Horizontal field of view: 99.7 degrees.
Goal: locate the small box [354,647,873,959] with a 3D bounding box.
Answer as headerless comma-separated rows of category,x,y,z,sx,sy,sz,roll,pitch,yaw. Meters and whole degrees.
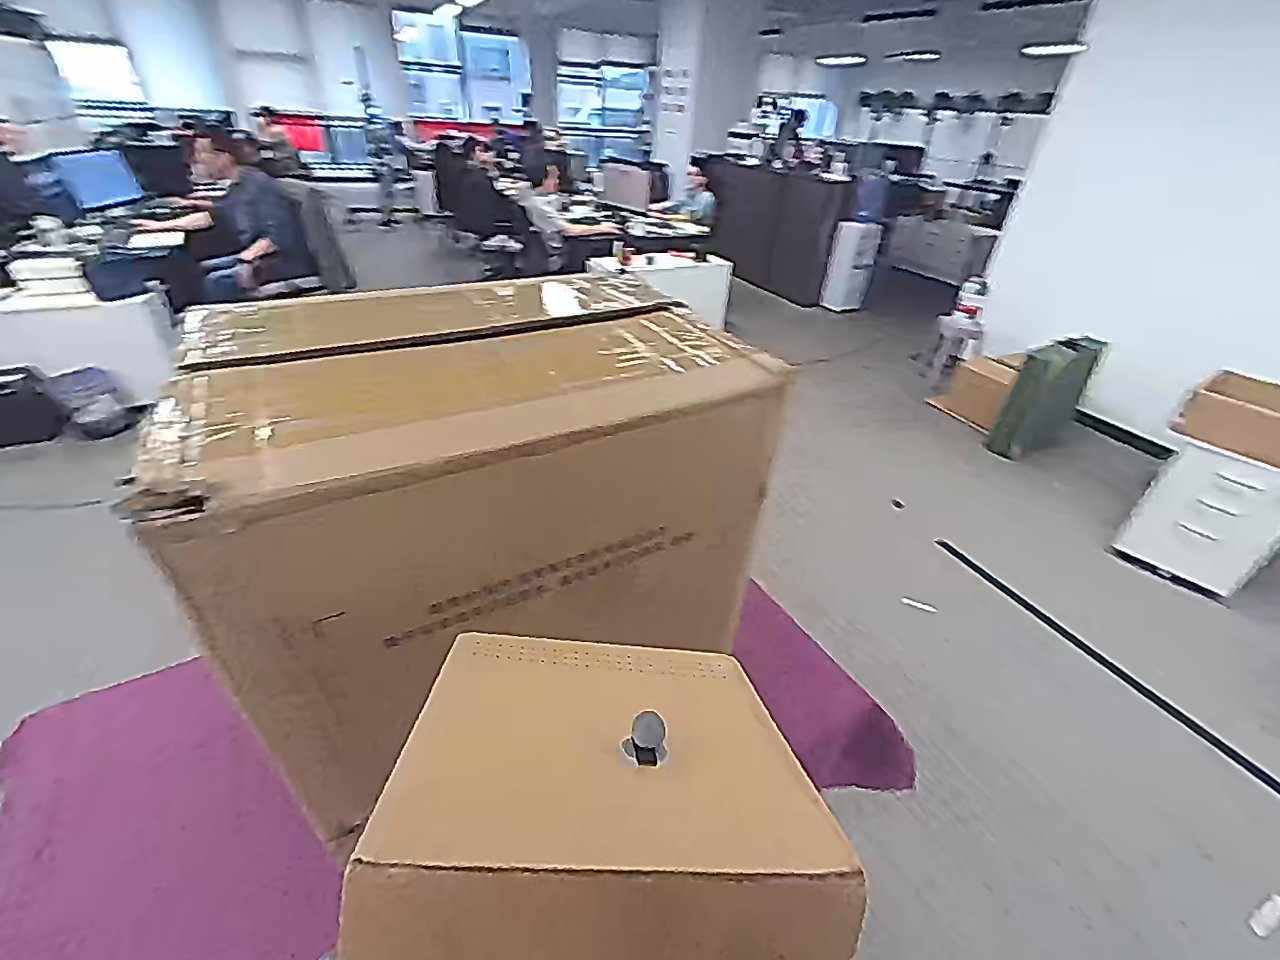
small box,-0.024,0.198,0.267,0.179,0.168,0.176,8,7,-8
